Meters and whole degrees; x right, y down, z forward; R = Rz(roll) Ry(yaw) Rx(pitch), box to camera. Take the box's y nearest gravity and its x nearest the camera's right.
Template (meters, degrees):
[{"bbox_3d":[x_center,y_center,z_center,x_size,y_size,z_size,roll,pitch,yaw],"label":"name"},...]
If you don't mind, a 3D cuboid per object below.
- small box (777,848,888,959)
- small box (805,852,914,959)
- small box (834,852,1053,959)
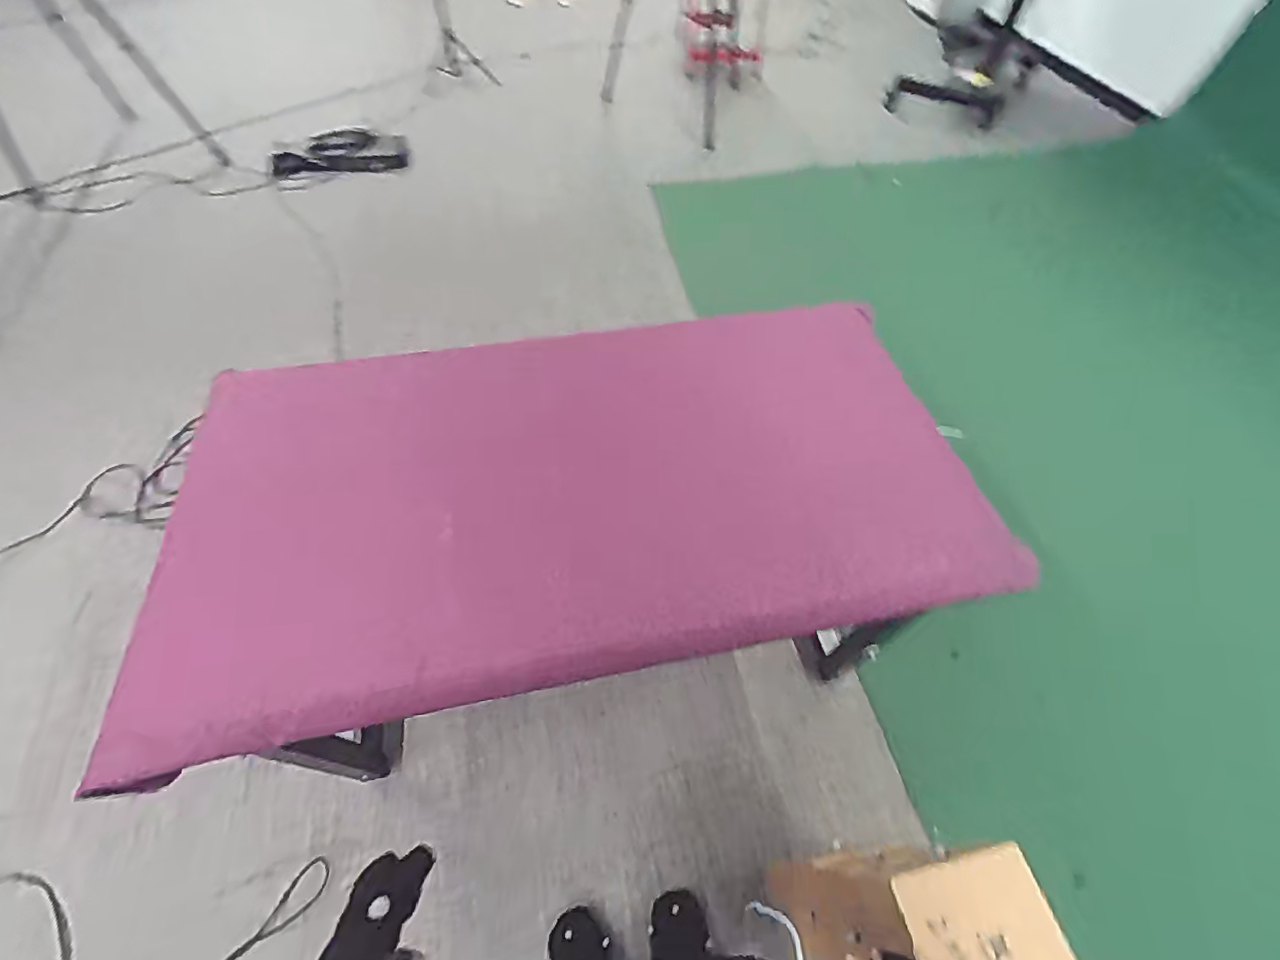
[{"bbox_3d":[0.359,0.765,0.953,0.168,0.176,0.179,-5,56,-7],"label":"small box"},{"bbox_3d":[0.370,0.679,0.815,0.168,0.176,0.179,-6,56,-7],"label":"small box"},{"bbox_3d":[0.377,0.583,0.682,0.179,0.176,0.168,-8,56,-8],"label":"small box"}]
